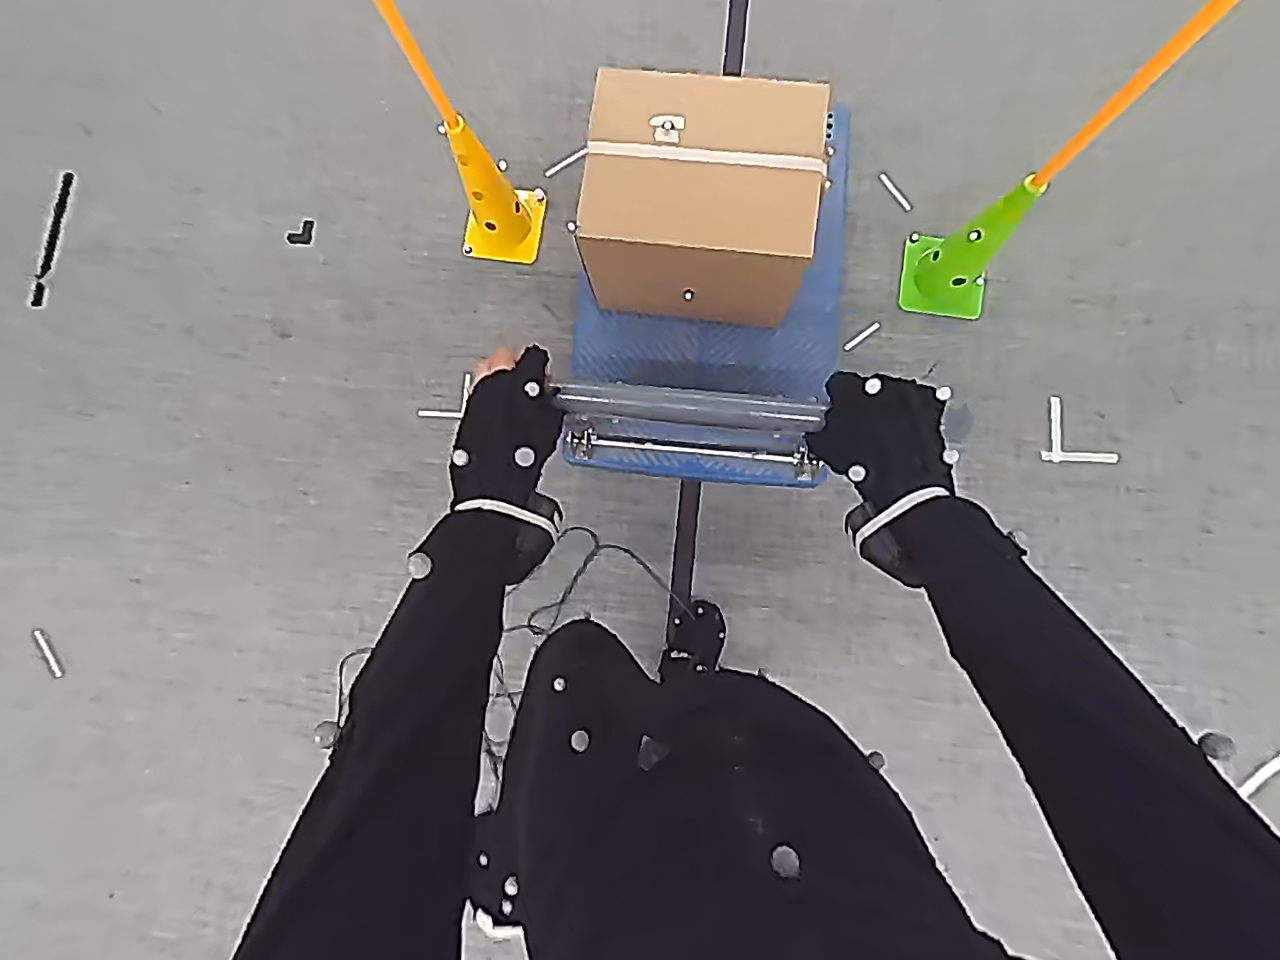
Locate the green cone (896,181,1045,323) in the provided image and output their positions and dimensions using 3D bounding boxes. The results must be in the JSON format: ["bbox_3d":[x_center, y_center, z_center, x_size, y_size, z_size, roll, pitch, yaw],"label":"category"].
[{"bbox_3d":[0.744,-0.521,1.193,0.202,0.368,0.200,9,84,3],"label":"green cone"}]

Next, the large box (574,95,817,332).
[{"bbox_3d":[0.110,-0.508,1.089,0.408,0.320,0.320,7,85,5],"label":"large box"}]
